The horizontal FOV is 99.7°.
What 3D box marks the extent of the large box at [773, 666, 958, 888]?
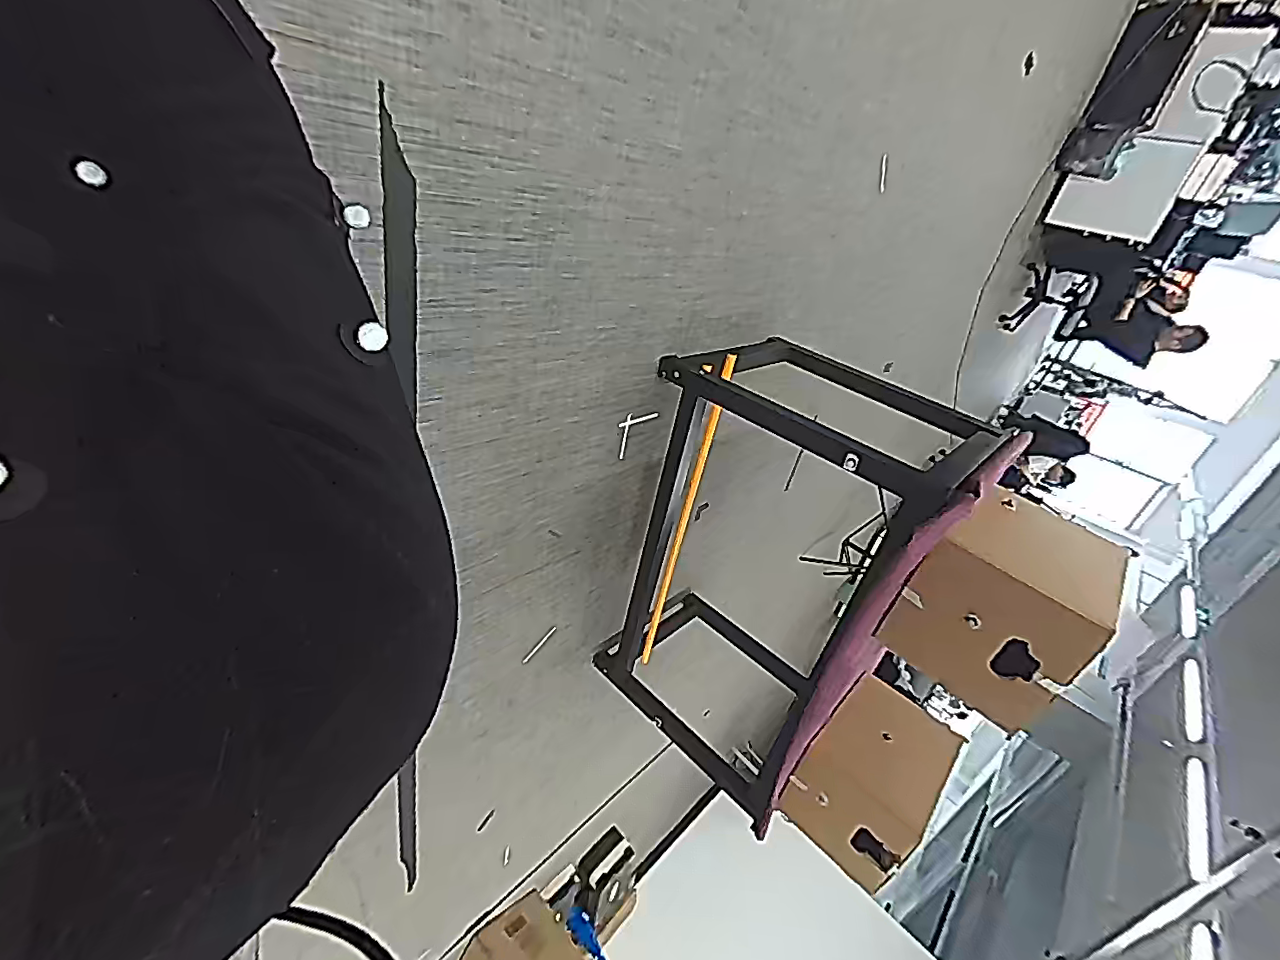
[{"bbox_3d":[0.647,0.830,1.563,0.408,0.320,0.320,-23,136,-45],"label":"large box"}]
